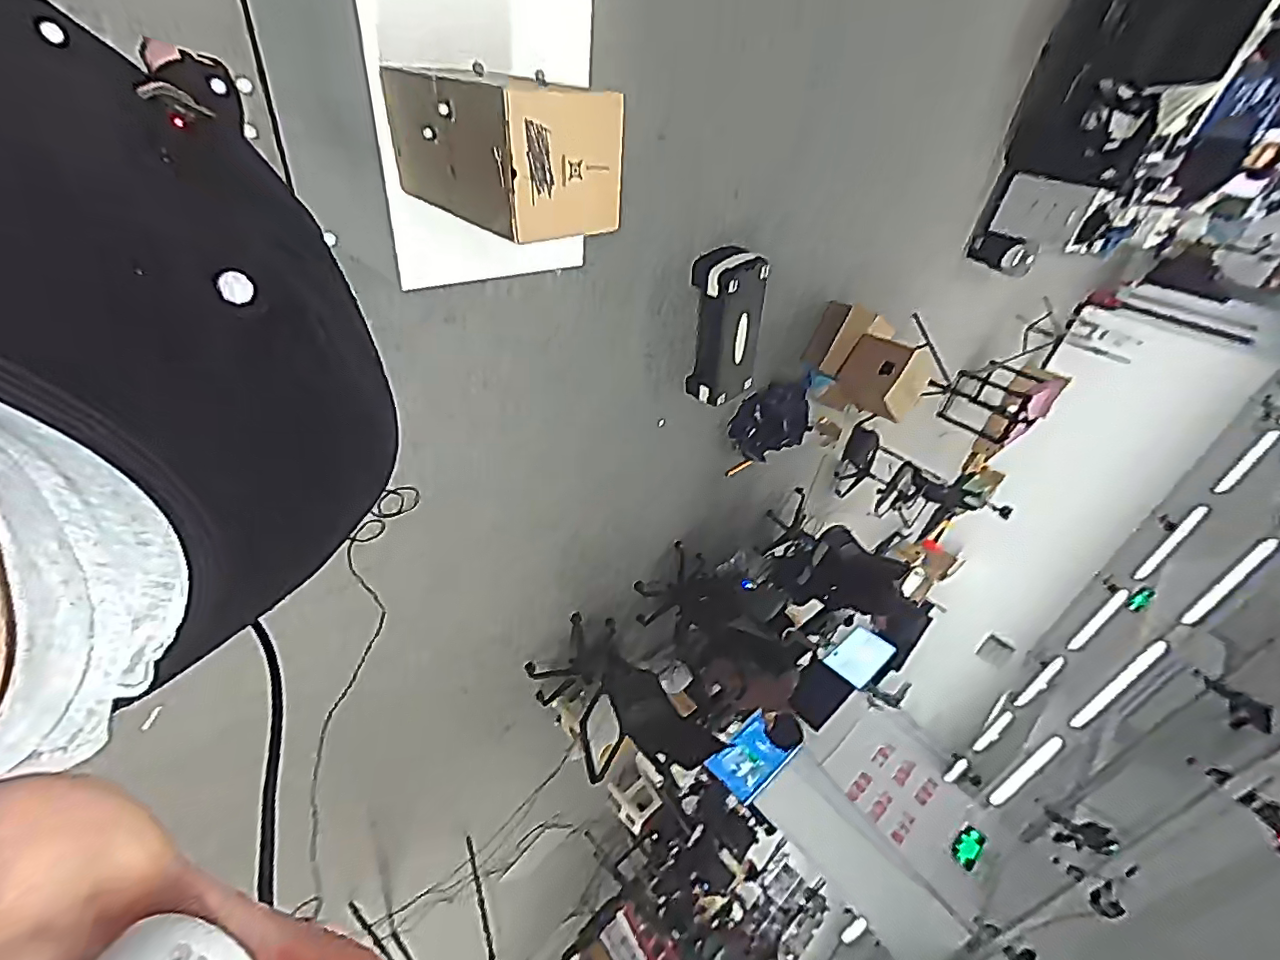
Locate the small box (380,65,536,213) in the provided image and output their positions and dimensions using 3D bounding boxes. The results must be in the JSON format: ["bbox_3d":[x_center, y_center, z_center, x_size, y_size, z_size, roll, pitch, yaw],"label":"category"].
[{"bbox_3d":[-0.257,-0.521,0.818,0.179,0.176,0.168,-30,139,-34],"label":"small box"}]

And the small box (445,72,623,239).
[{"bbox_3d":[-0.143,-0.441,0.730,0.179,0.176,0.168,-30,140,-35],"label":"small box"}]
